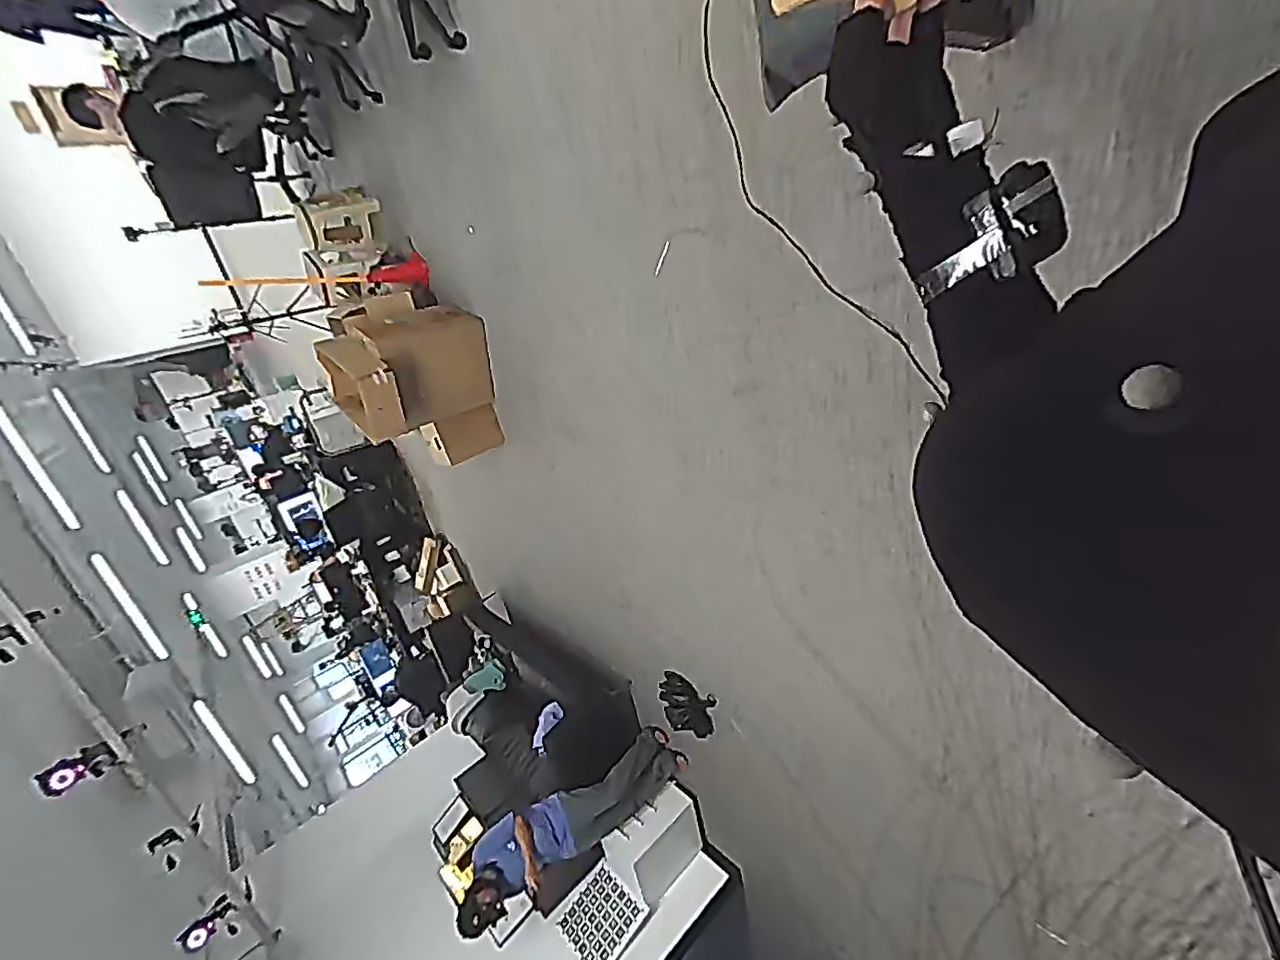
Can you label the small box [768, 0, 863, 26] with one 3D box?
[{"bbox_3d":[0.185,-0.461,0.369,0.168,0.176,0.179,11,131,47],"label":"small box"}]
